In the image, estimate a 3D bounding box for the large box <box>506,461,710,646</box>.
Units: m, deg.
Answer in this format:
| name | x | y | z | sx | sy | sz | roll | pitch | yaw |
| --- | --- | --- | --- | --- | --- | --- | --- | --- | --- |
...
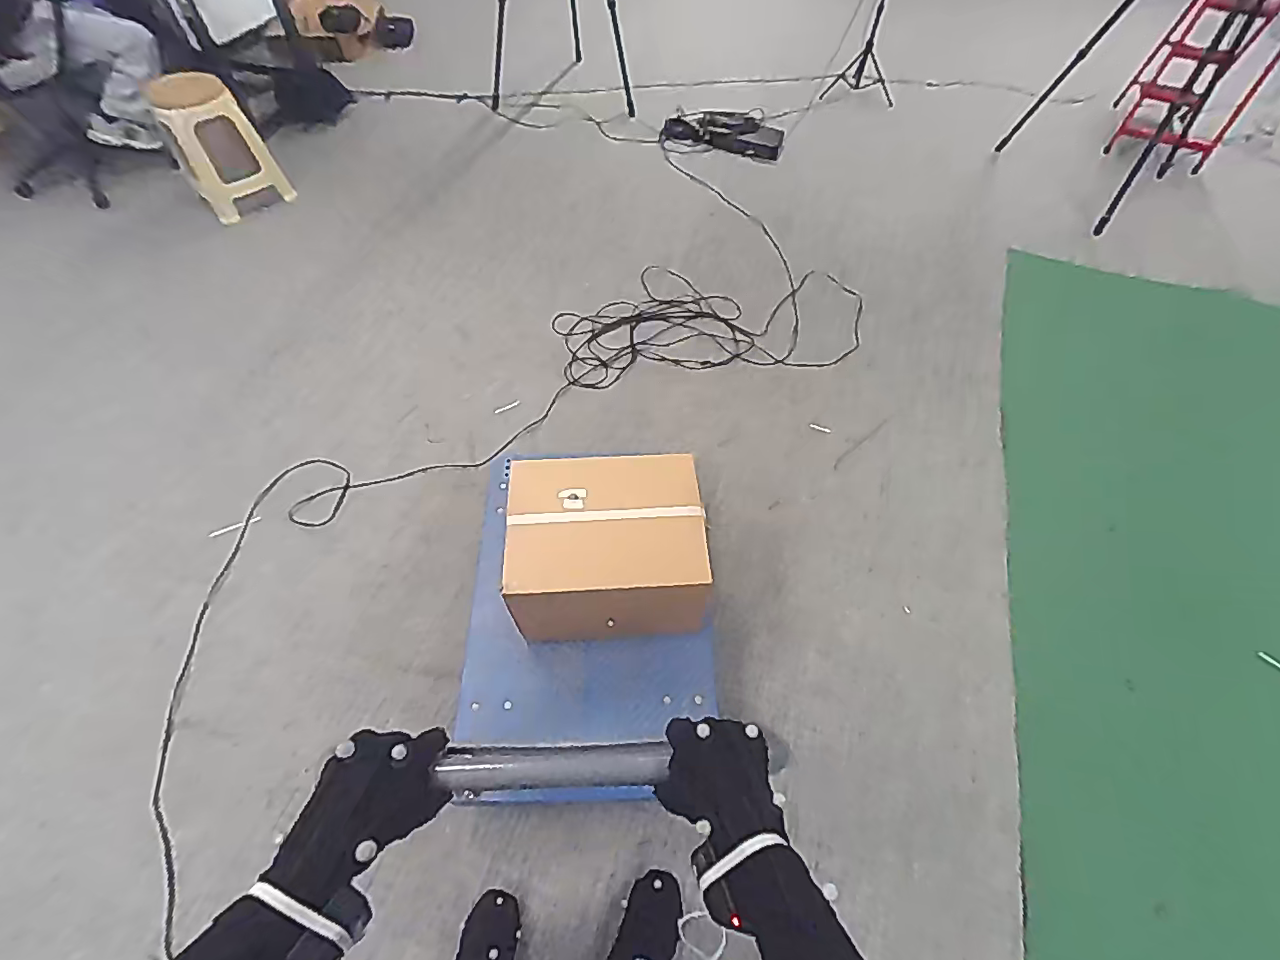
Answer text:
| name | x | y | z | sx | sy | sz | roll | pitch | yaw |
| --- | --- | --- | --- | --- | --- | --- | --- | --- | --- |
| large box | -0.069 | 0.179 | 1.249 | 0.408 | 0.320 | 0.320 | -3 | 55 | -2 |
